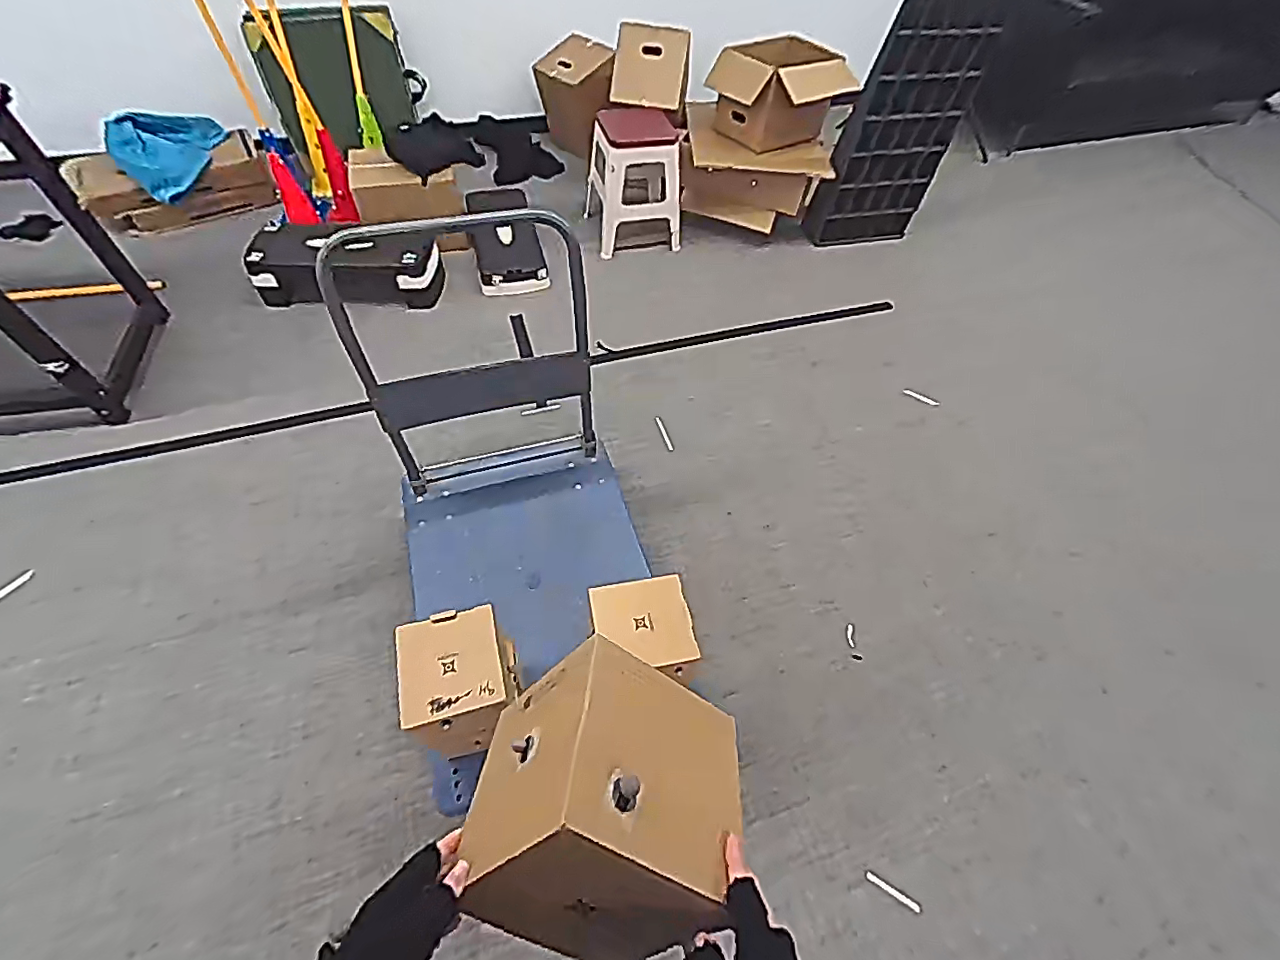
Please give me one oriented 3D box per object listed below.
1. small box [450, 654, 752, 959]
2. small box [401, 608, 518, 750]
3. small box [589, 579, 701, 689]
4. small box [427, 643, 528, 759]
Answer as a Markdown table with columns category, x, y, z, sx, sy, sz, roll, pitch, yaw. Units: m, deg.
| category | x | y | z | sx | sy | sz | roll | pitch | yaw |
| --- | --- | --- | --- | --- | --- | --- | --- | --- | --- |
| small box | -0.026 | 0.283 | 0.479 | 0.179 | 0.168 | 0.176 | 37 | 27 | -16 |
| small box | -0.319 | 0.358 | 0.968 | 0.168 | 0.176 | 0.179 | -12 | 55 | -12 |
| small box | 0.002 | 0.310 | 1.028 | 0.179 | 0.176 | 0.168 | -7 | 55 | -10 |
| small box | -0.324 | 0.453 | 1.103 | 0.179 | 0.176 | 0.168 | -10 | 56 | -10 |
